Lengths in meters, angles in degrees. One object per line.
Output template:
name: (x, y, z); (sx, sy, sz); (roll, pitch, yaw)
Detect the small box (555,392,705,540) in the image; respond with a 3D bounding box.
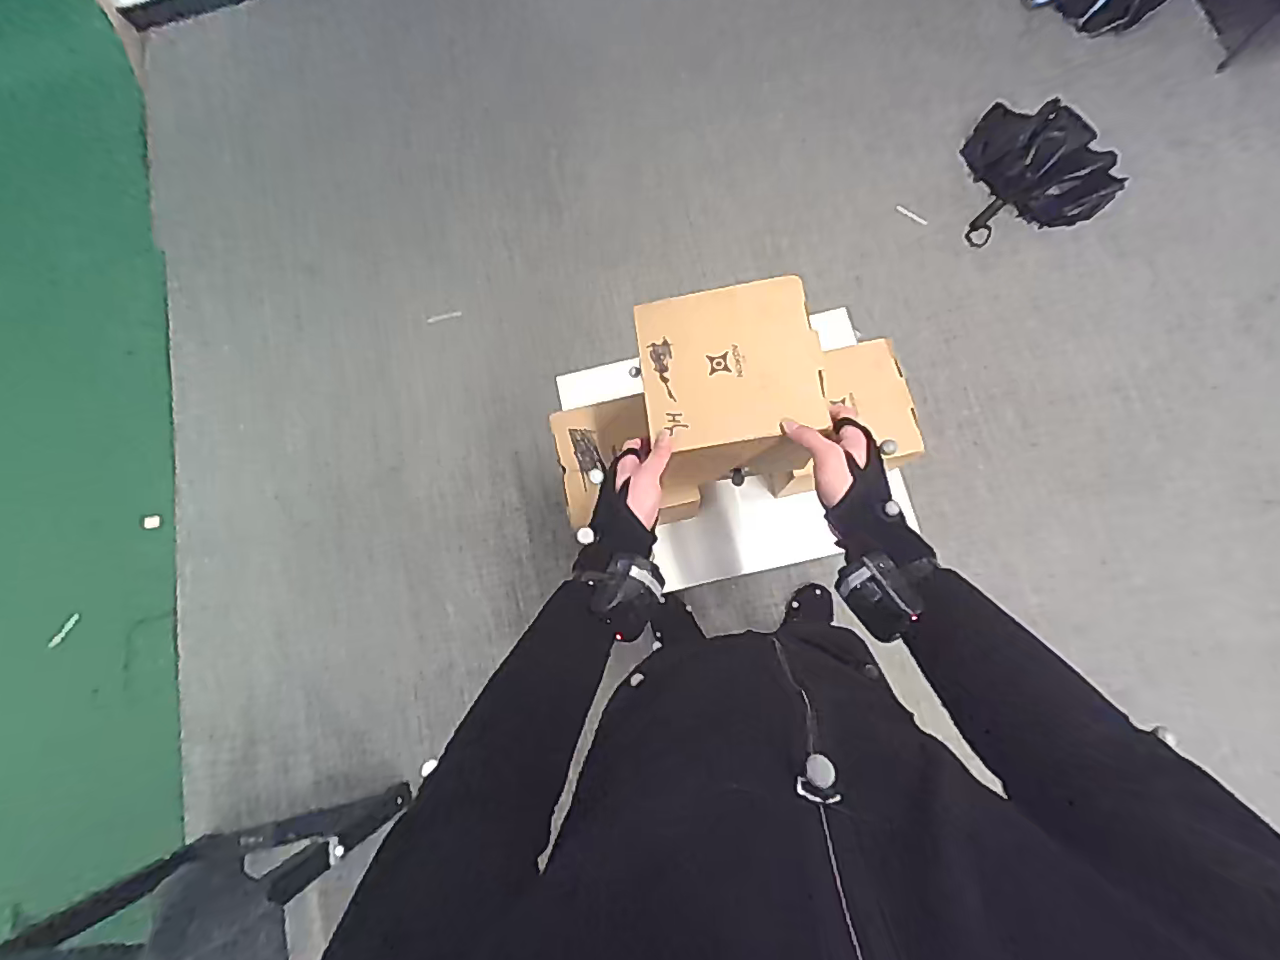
small box: (-0.011, -0.014, 0.791); (0.179, 0.176, 0.168); (-12, 78, -1)

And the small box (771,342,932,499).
small box: (0.282, -0.076, 0.788); (0.179, 0.176, 0.168); (-12, 78, 2)

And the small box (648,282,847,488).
small box: (0.109, -0.094, 0.608); (0.179, 0.176, 0.168); (-8, 77, 4)
